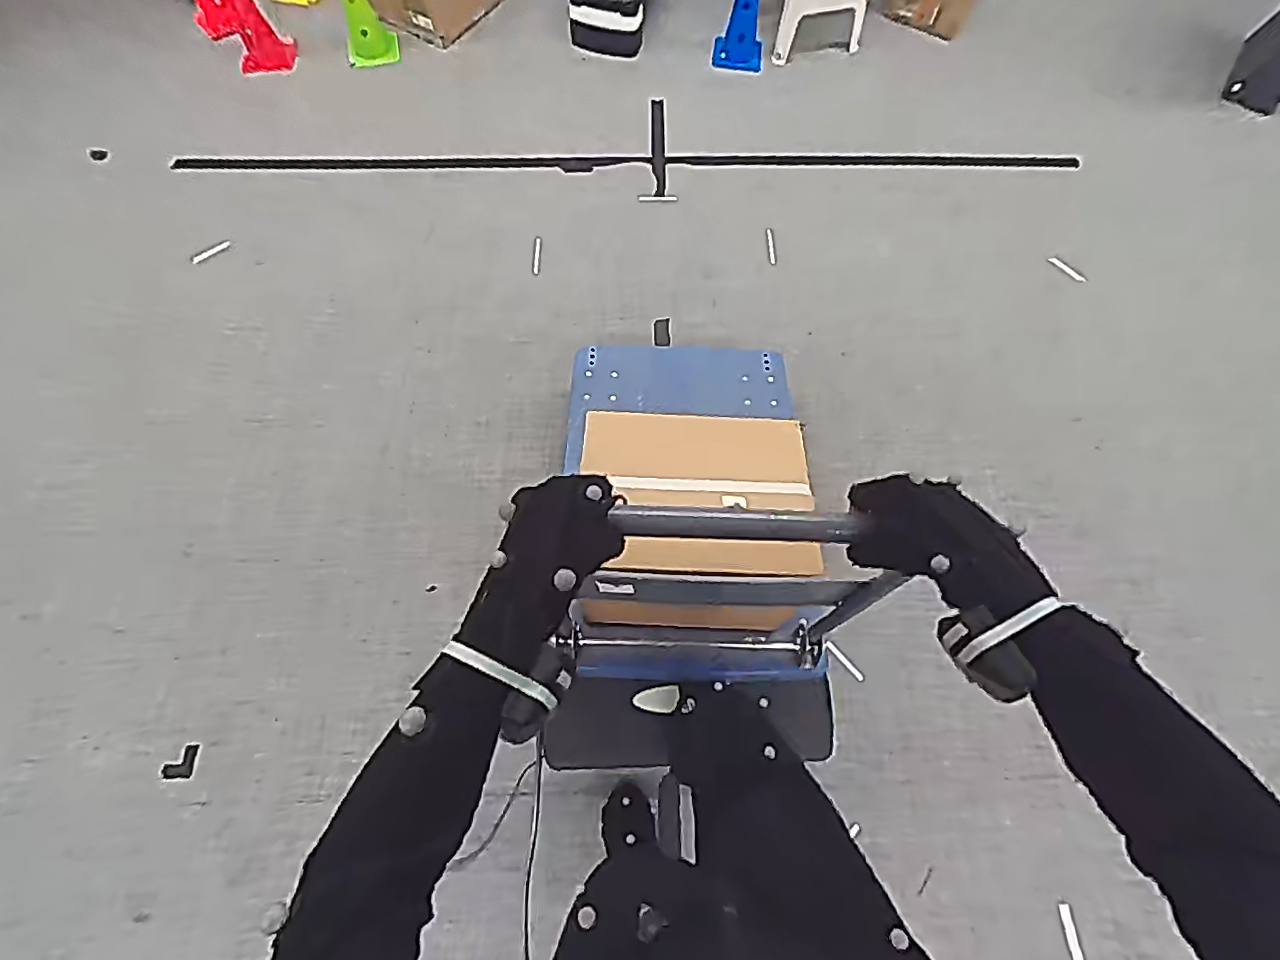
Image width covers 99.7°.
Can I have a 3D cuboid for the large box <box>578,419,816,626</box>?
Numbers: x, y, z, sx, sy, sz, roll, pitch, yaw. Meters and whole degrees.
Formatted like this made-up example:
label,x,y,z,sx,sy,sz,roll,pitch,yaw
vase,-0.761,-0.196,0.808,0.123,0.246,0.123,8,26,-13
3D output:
label,x,y,z,sx,sy,sz,roll,pitch,yaw
large box,0.088,0.097,1.088,0.408,0.320,0.320,3,59,-2
